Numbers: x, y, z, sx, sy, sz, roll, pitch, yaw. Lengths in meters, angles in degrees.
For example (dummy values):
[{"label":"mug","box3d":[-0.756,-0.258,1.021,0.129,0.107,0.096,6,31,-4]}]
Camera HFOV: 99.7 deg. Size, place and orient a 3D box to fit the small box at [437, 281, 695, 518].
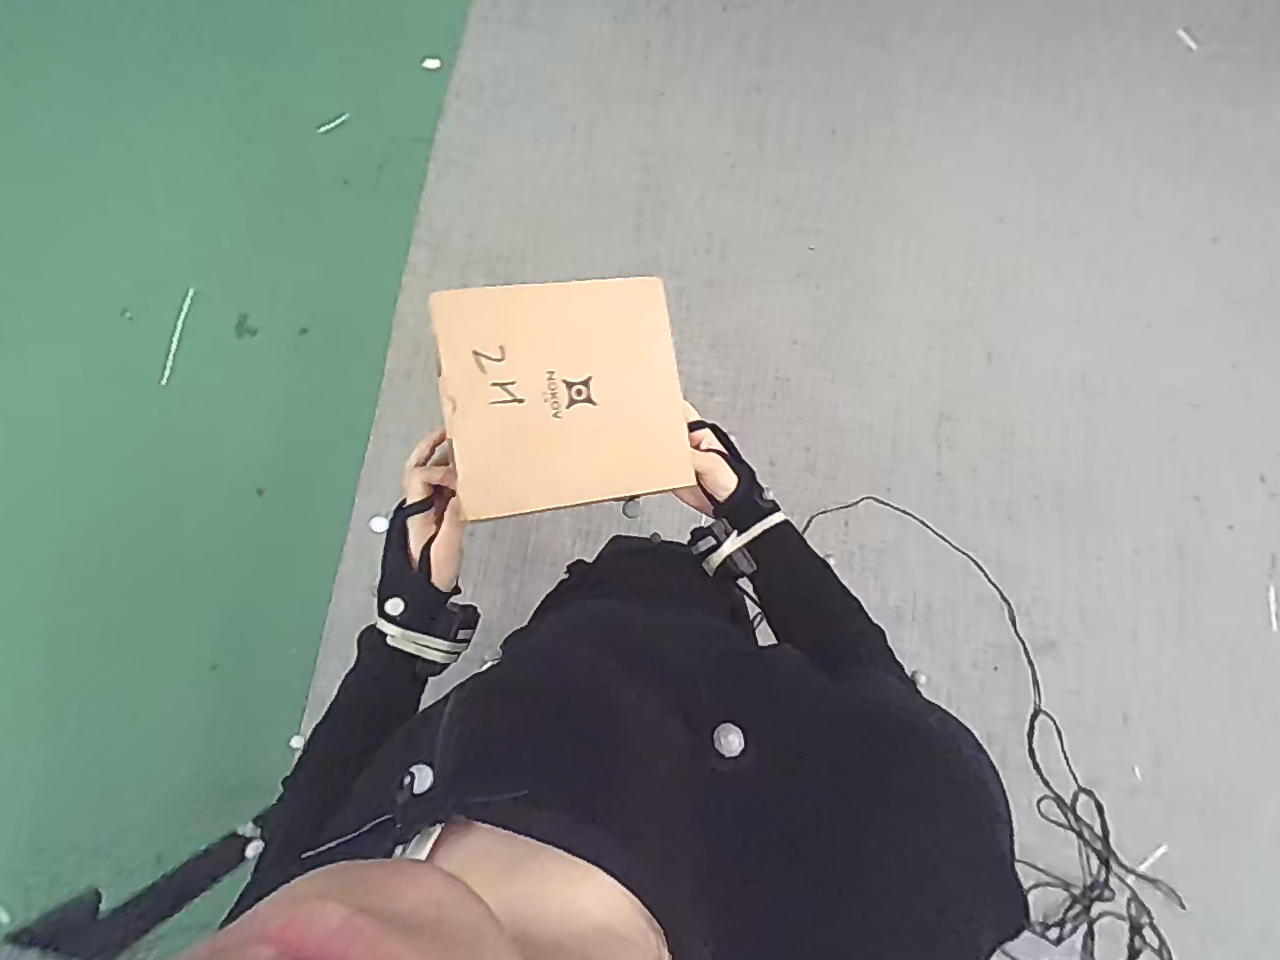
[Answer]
[{"label":"small box","box3d":[-0.069,-0.061,0.480,0.179,0.176,0.168,-9,89,-13]}]
